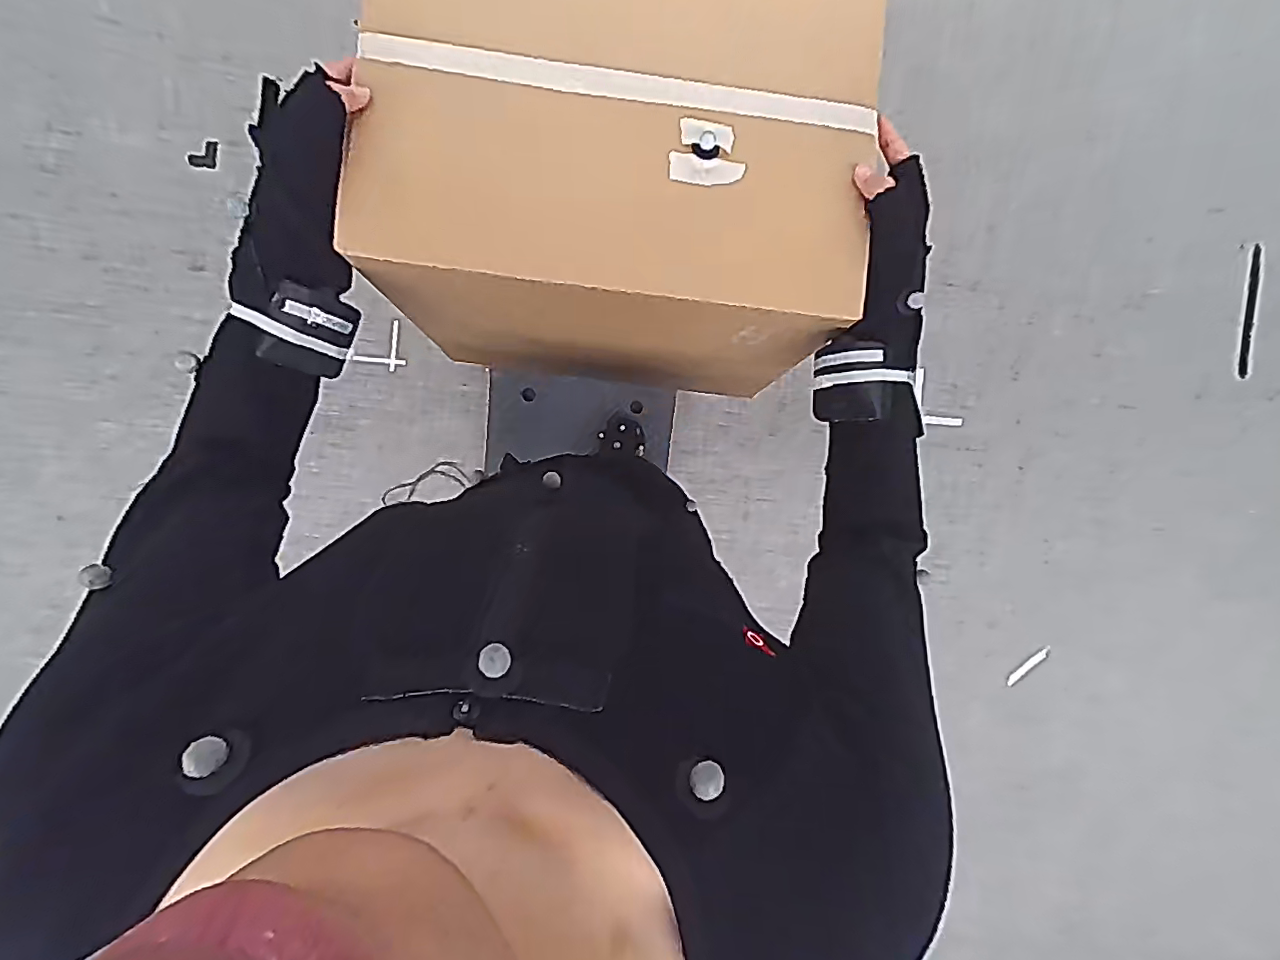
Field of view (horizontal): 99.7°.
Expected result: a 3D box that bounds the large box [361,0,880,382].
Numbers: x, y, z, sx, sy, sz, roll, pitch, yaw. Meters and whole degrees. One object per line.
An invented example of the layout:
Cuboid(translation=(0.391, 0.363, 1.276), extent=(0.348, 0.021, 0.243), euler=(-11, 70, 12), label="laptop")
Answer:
Cuboid(translation=(-0.017, -0.306, 0.581), extent=(0.408, 0.320, 0.320), euler=(6, 88, -4), label="large box")
